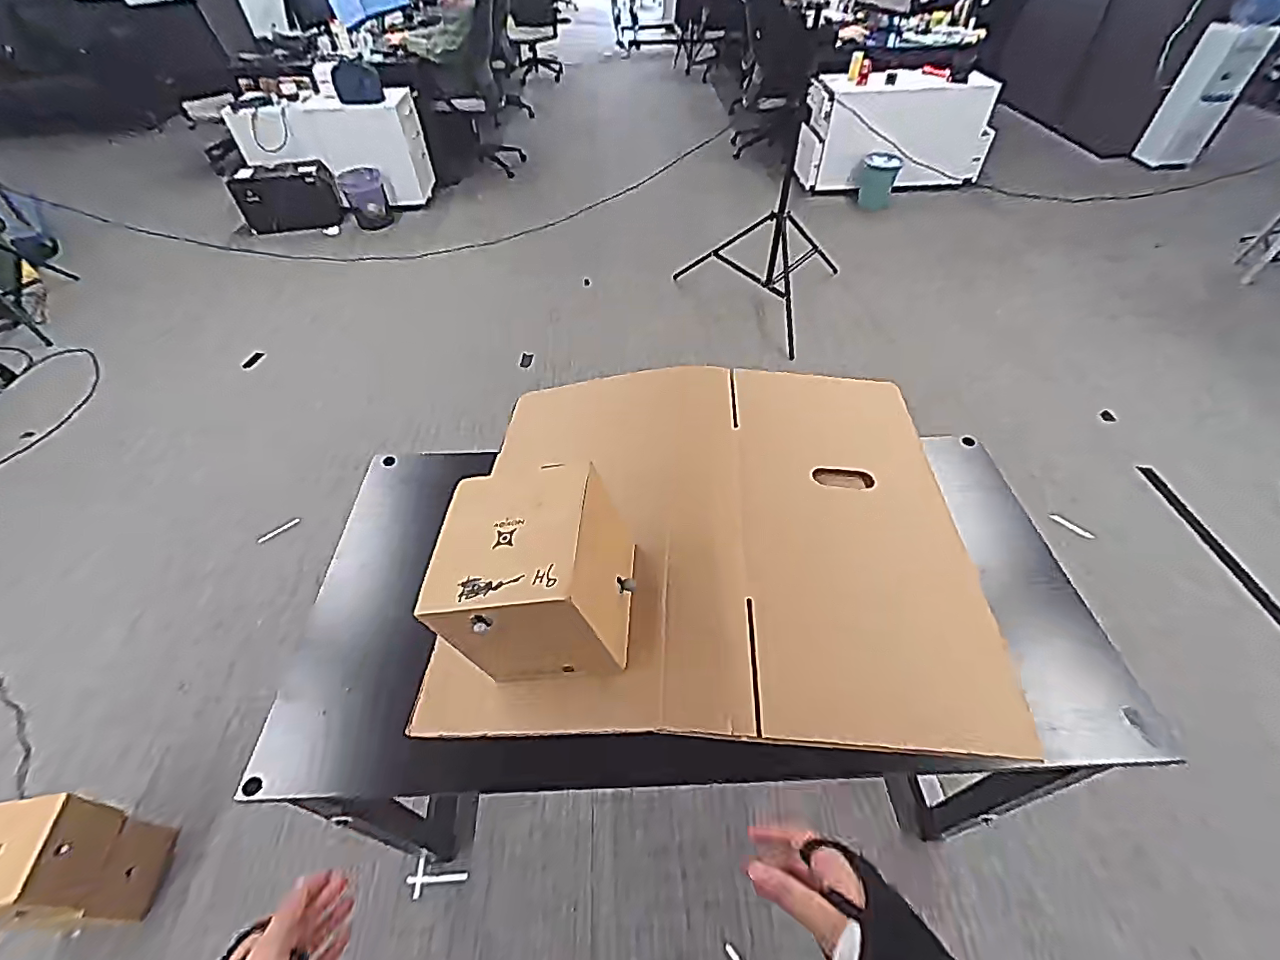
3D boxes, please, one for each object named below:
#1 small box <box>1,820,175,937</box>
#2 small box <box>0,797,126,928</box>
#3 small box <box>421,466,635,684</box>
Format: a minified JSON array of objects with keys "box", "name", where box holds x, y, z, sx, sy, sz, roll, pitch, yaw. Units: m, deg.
[{"box":[-1.161,0.857,1.161,0.168,0.176,0.179,-5,49,-3],"name":"small box"},{"box":[-1.166,0.743,1.045,0.168,0.176,0.179,-7,47,-6],"name":"small box"},{"box":[-0.109,0.112,0.618,0.168,0.176,0.179,-10,46,14],"name":"small box"}]
